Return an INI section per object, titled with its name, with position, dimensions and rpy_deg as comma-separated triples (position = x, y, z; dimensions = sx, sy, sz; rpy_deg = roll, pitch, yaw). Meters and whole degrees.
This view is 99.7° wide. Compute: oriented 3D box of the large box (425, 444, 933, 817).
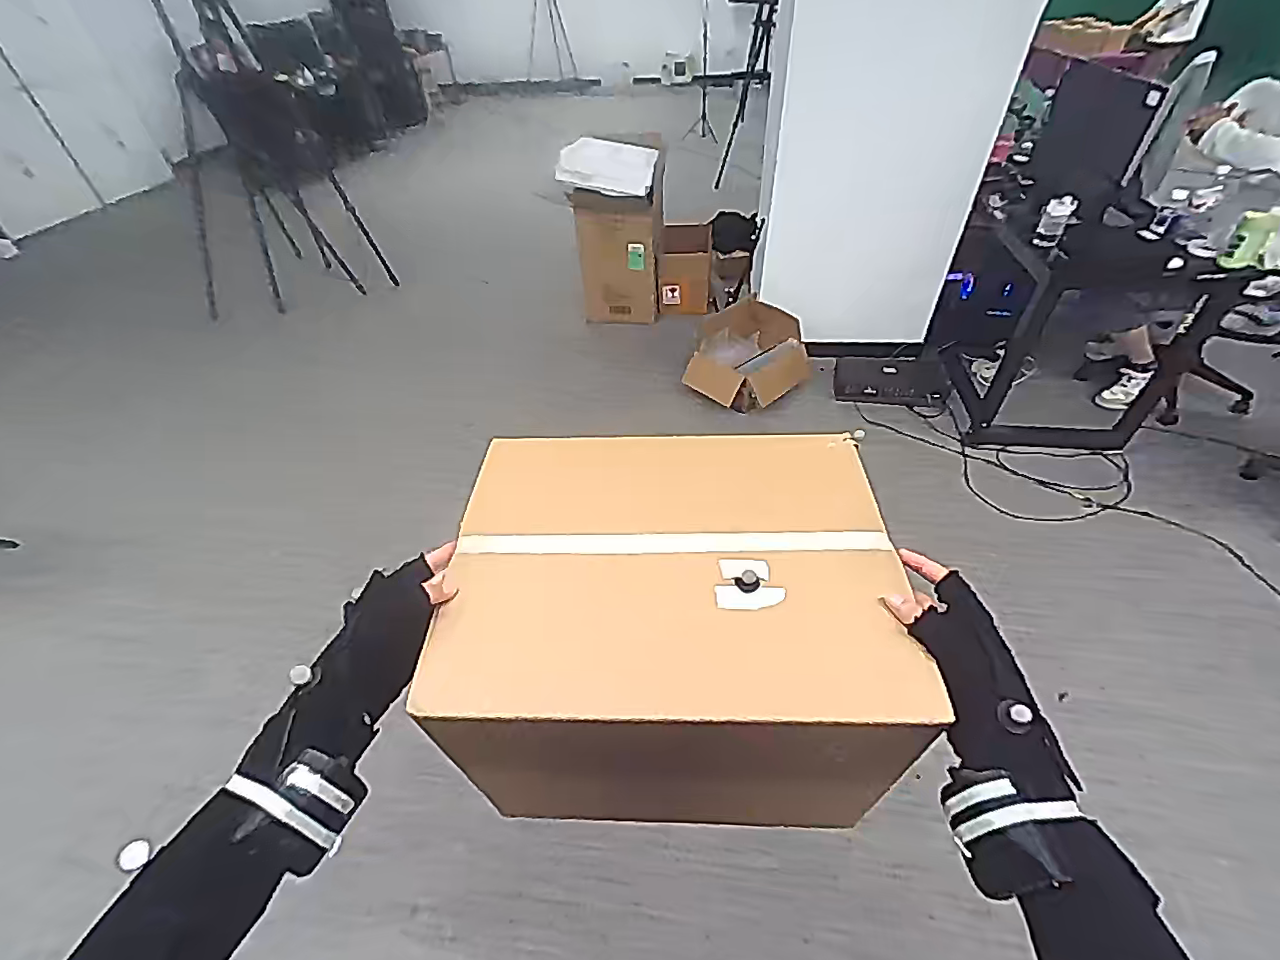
[large box]
position = 0.034, 0.174, 0.625
dimensions = 0.408, 0.320, 0.320
rpy_deg = 0, 46, 3
